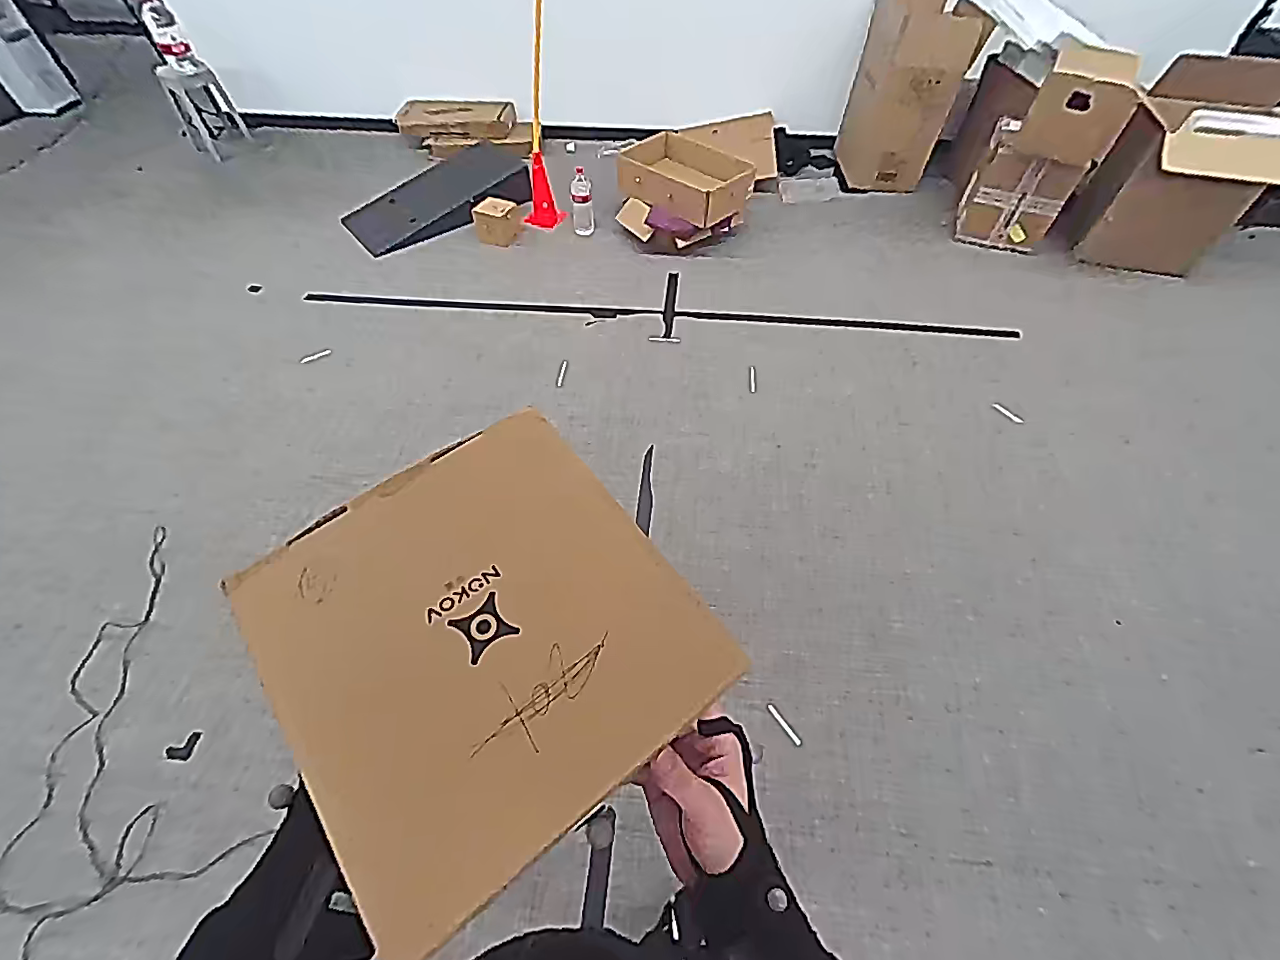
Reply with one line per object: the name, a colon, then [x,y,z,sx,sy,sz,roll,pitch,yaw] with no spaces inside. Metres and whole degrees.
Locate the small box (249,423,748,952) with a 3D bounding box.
small box: [-0.068,0.107,0.316,0.168,0.176,0.179,-36,68,-19]
